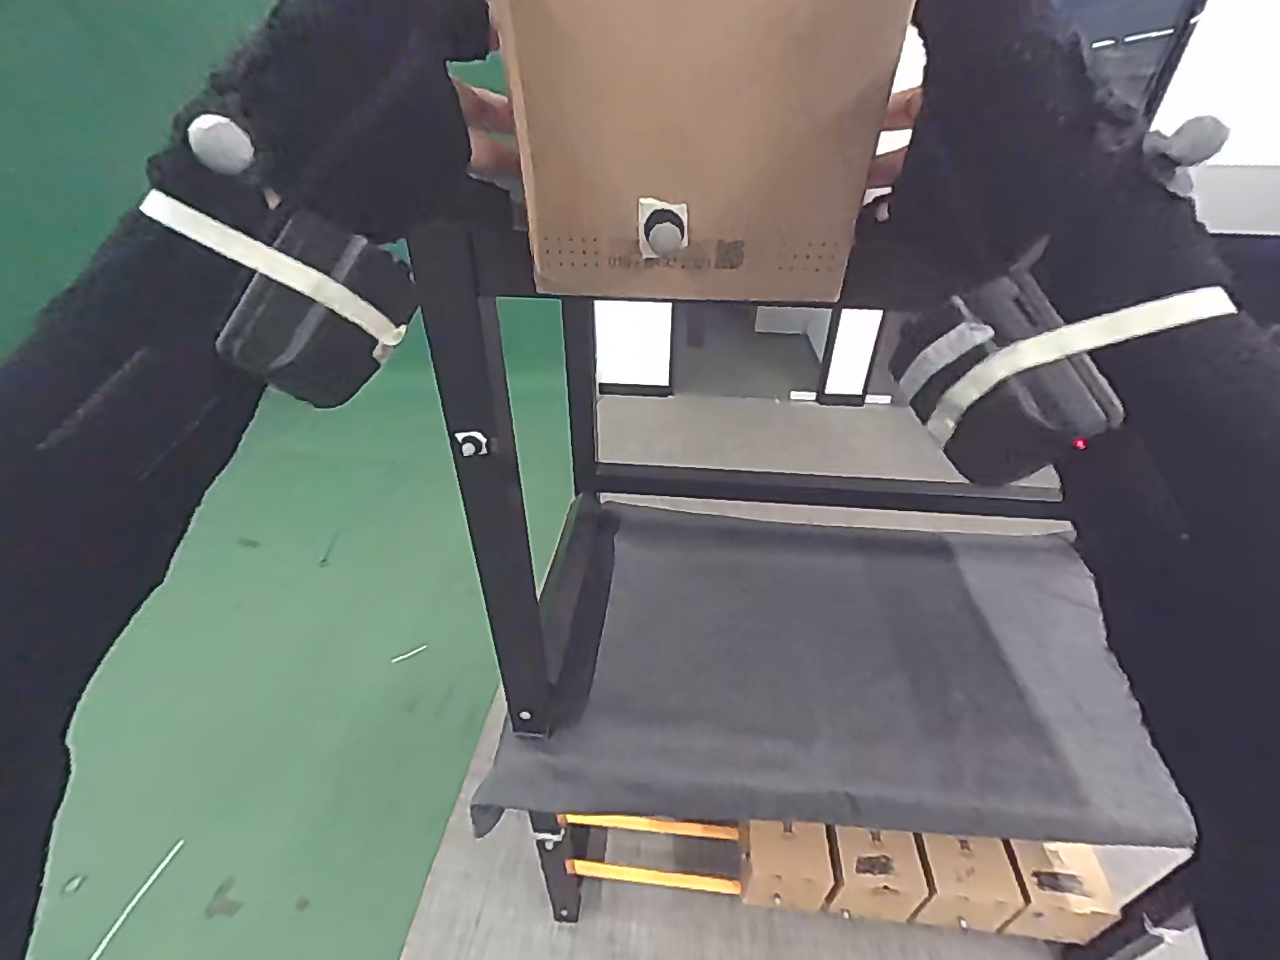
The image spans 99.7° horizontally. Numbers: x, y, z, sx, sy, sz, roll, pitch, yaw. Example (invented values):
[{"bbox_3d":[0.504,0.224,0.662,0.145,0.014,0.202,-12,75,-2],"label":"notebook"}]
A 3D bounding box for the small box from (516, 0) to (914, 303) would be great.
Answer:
[{"bbox_3d":[0.031,-0.217,0.306,0.168,0.176,0.179,1,44,3],"label":"small box"}]
